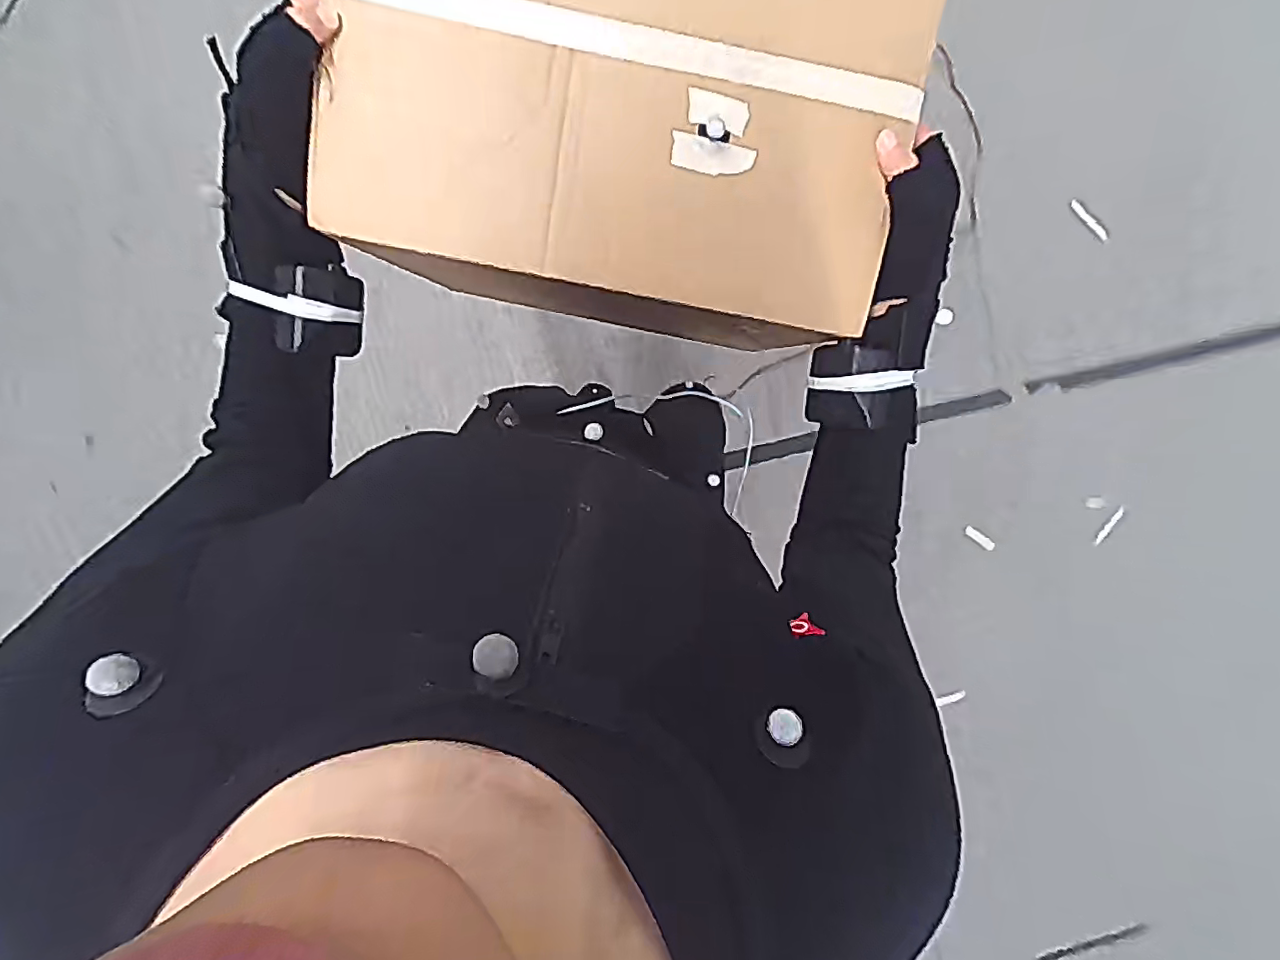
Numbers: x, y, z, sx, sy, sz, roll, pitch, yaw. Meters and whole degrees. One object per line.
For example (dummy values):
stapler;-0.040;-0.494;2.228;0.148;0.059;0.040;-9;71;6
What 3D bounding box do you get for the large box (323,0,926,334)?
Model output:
large box;-0.016;-0.332;0.515;0.408;0.320;0.320;9;102;-4
